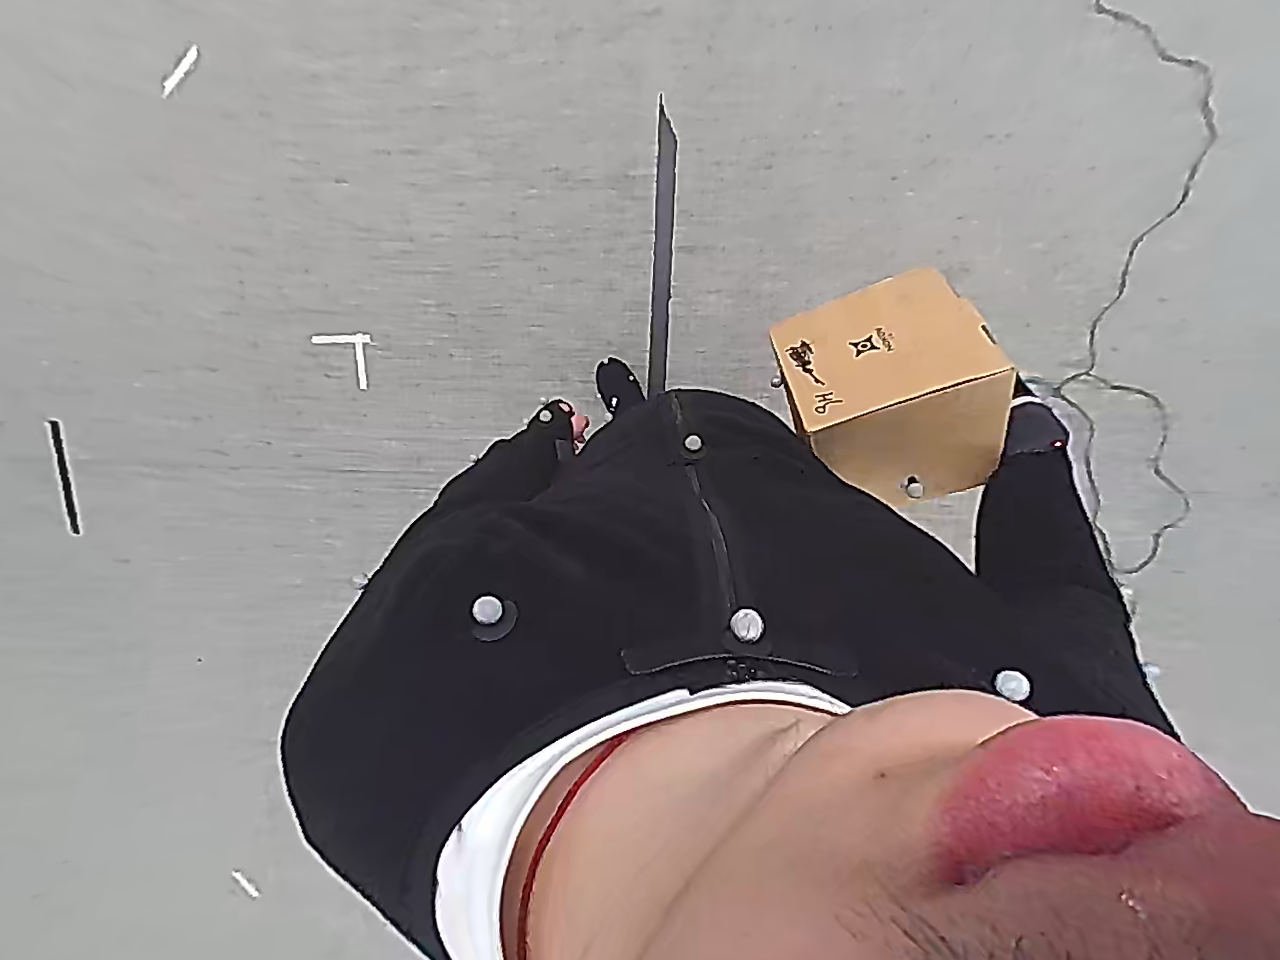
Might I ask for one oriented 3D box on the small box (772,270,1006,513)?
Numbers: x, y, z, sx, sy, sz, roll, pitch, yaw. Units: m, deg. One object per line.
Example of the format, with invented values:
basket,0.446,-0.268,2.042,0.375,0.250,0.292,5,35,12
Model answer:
small box,0.261,-0.089,0.595,0.179,0.168,0.176,-17,138,14
